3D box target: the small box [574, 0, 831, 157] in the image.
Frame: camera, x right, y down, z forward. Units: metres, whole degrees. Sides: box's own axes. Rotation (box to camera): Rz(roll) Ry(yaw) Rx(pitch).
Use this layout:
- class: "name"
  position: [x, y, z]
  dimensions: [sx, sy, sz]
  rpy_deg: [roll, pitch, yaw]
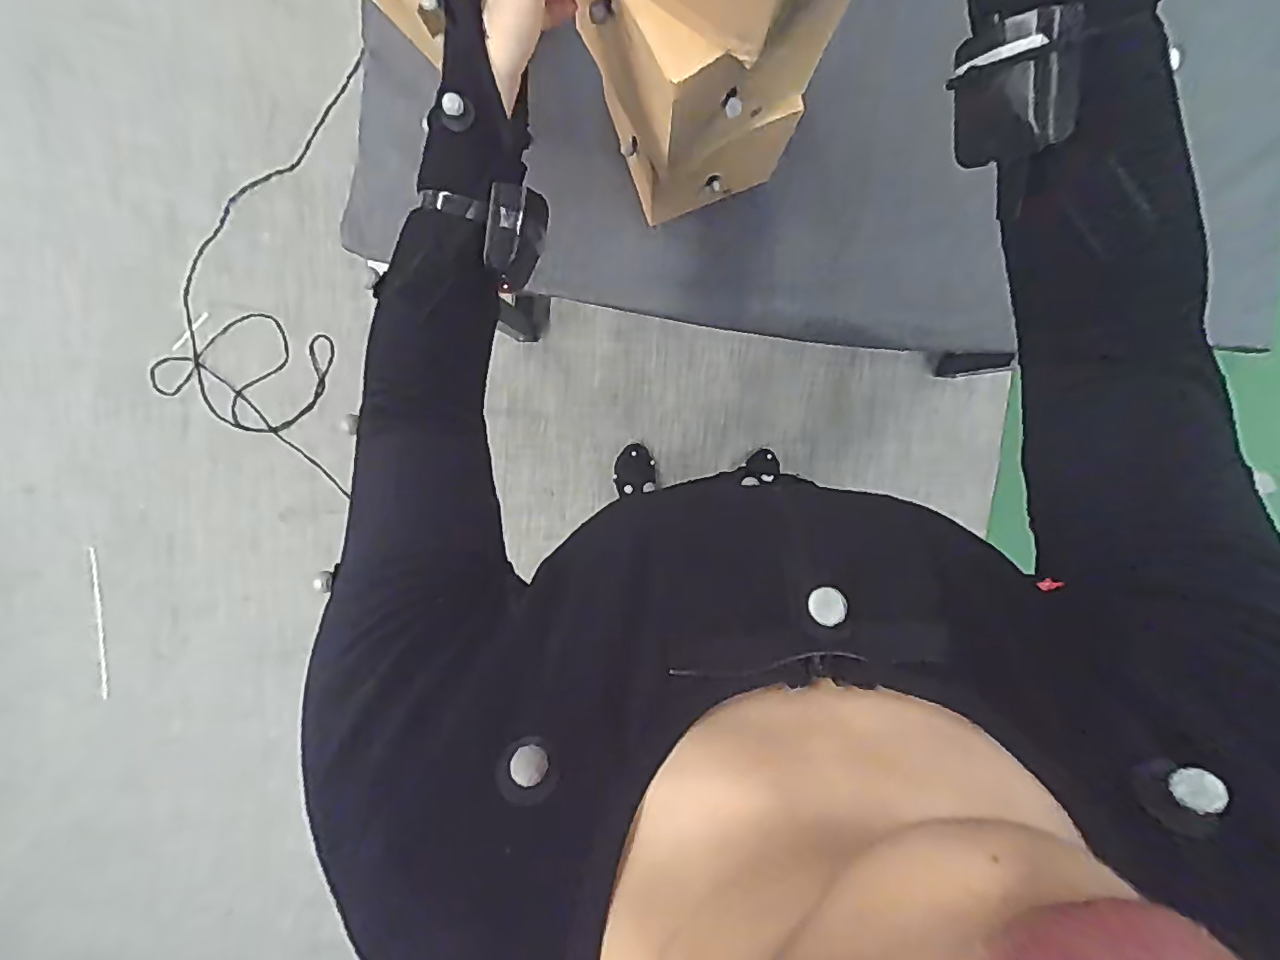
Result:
- class: "small box"
  position: [0.047, -0.411, 0.452]
  dimensions: [0.168, 0.176, 0.179]
  rpy_deg: [-31, 95, 5]

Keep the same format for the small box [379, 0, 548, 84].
- class: "small box"
  position: [-0.226, -0.603, 0.600]
  dimensions: [0.168, 0.176, 0.179]
  rpy_deg: [-45, 95, 6]

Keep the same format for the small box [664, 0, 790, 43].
- class: "small box"
  position: [0.048, -0.399, 0.290]
  dimensions: [0.179, 0.176, 0.168]
  rpy_deg: [33, 98, -3]

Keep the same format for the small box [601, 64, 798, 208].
- class: "small box"
  position: [0.057, -0.437, 0.613]
  dimensions: [0.168, 0.176, 0.179]
  rpy_deg: [-20, 96, 3]
